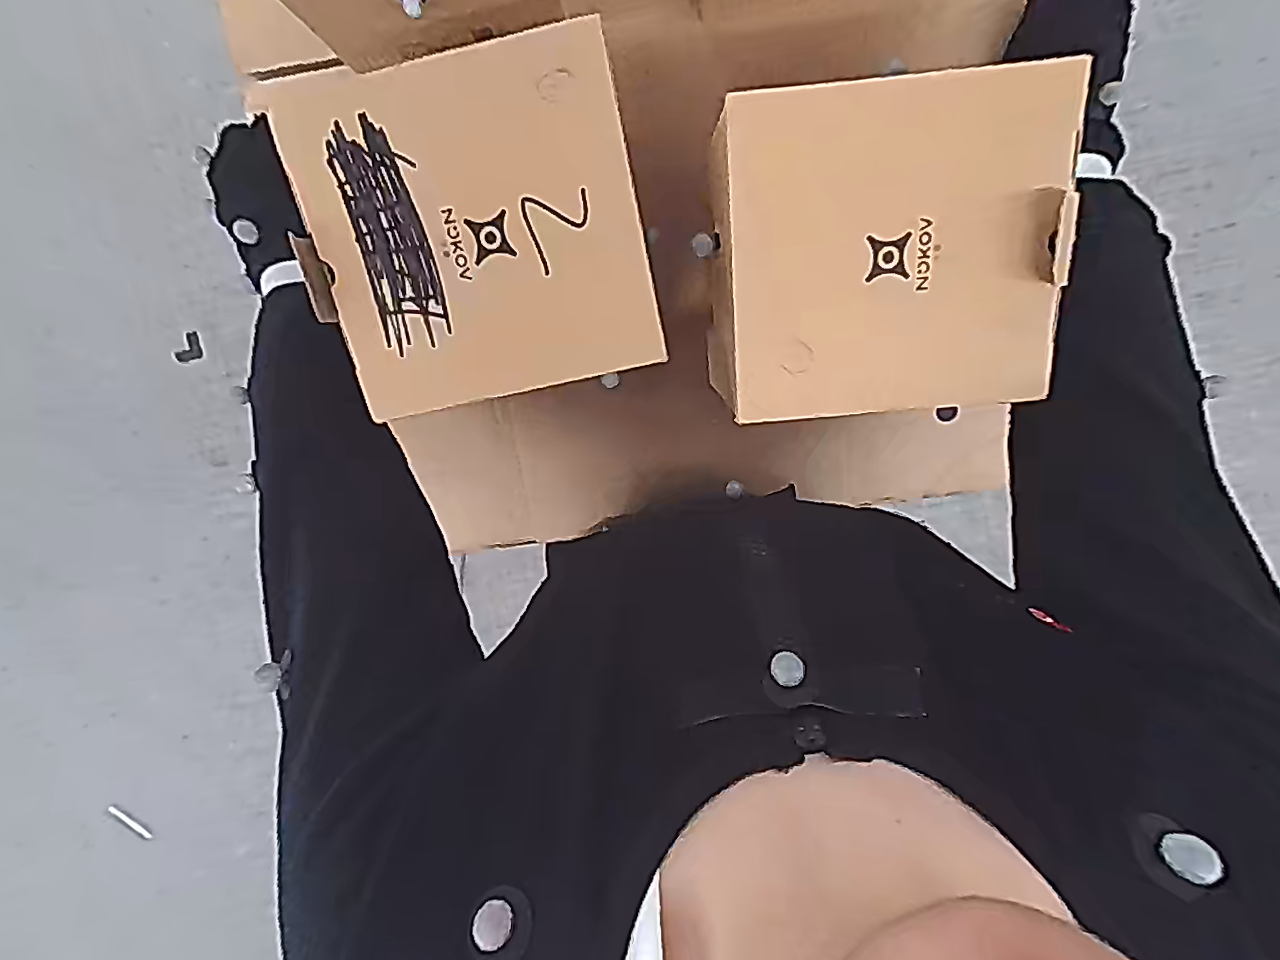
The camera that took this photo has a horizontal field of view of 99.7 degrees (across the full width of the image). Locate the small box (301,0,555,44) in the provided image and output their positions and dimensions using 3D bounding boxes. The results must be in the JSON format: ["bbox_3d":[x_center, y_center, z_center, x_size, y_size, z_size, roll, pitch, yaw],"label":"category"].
[{"bbox_3d":[-0.152,-0.390,0.306,0.168,0.176,0.179,-8,103,4],"label":"small box"}]
